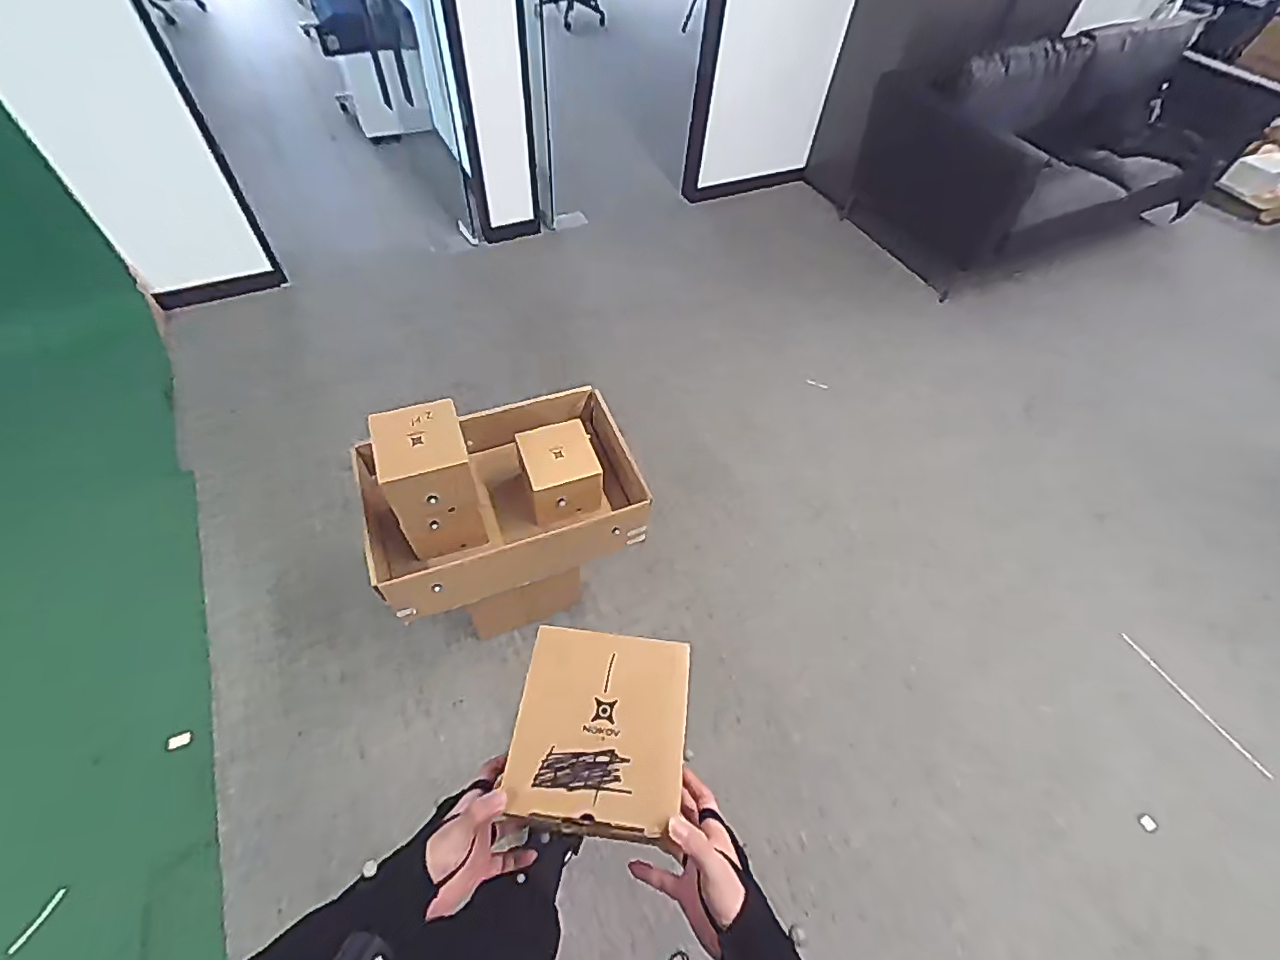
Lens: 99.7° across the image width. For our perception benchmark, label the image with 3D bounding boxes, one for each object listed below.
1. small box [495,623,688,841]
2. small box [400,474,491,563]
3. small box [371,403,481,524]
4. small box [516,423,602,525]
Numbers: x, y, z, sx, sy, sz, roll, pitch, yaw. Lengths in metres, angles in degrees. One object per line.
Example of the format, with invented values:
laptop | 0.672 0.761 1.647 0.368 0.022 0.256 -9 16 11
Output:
small box | -0.042 0.281 0.594 0.168 0.176 0.179 7 53 3
small box | -0.454 0.064 1.253 0.168 0.176 0.179 -15 57 -14
small box | -0.436 -0.026 1.117 0.168 0.176 0.179 -15 57 -16
small box | -0.196 -0.007 1.329 0.168 0.176 0.179 -16 57 -15
